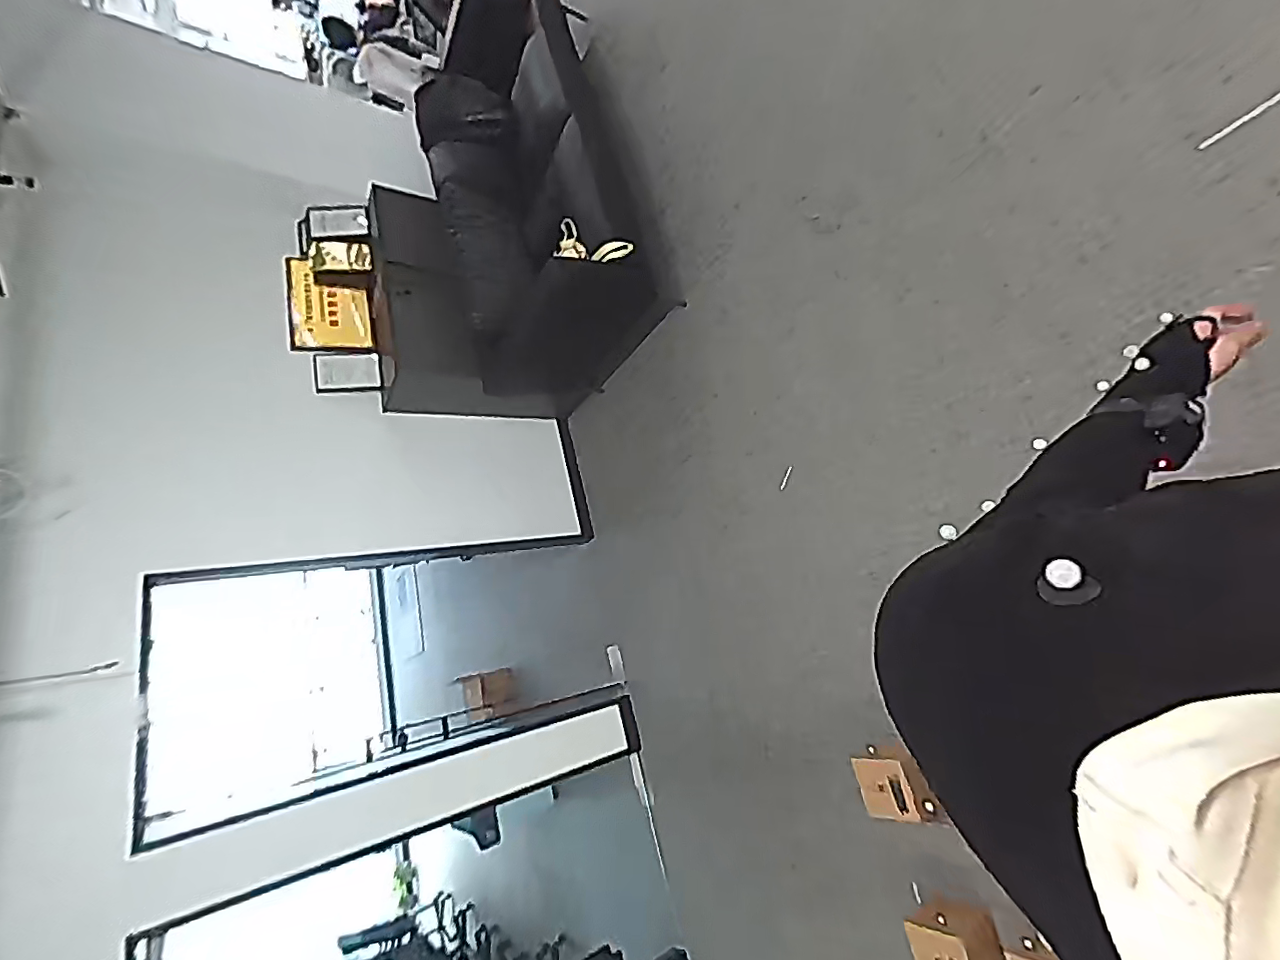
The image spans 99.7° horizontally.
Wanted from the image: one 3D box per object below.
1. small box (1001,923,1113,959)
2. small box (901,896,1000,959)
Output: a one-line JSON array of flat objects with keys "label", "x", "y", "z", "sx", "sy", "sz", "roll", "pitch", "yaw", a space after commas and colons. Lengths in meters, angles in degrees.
[{"label": "small box", "x": 1.029, "y": 1.218, "z": 1.306, "sx": 0.179, "sy": 0.176, "sz": 0.168, "roll": -33, "pitch": 64, "yaw": 51}, {"label": "small box", "x": 0.881, "y": 1.314, "z": 1.521, "sx": 0.179, "sy": 0.176, "sz": 0.168, "roll": -33, "pitch": 64, "yaw": 51}]
